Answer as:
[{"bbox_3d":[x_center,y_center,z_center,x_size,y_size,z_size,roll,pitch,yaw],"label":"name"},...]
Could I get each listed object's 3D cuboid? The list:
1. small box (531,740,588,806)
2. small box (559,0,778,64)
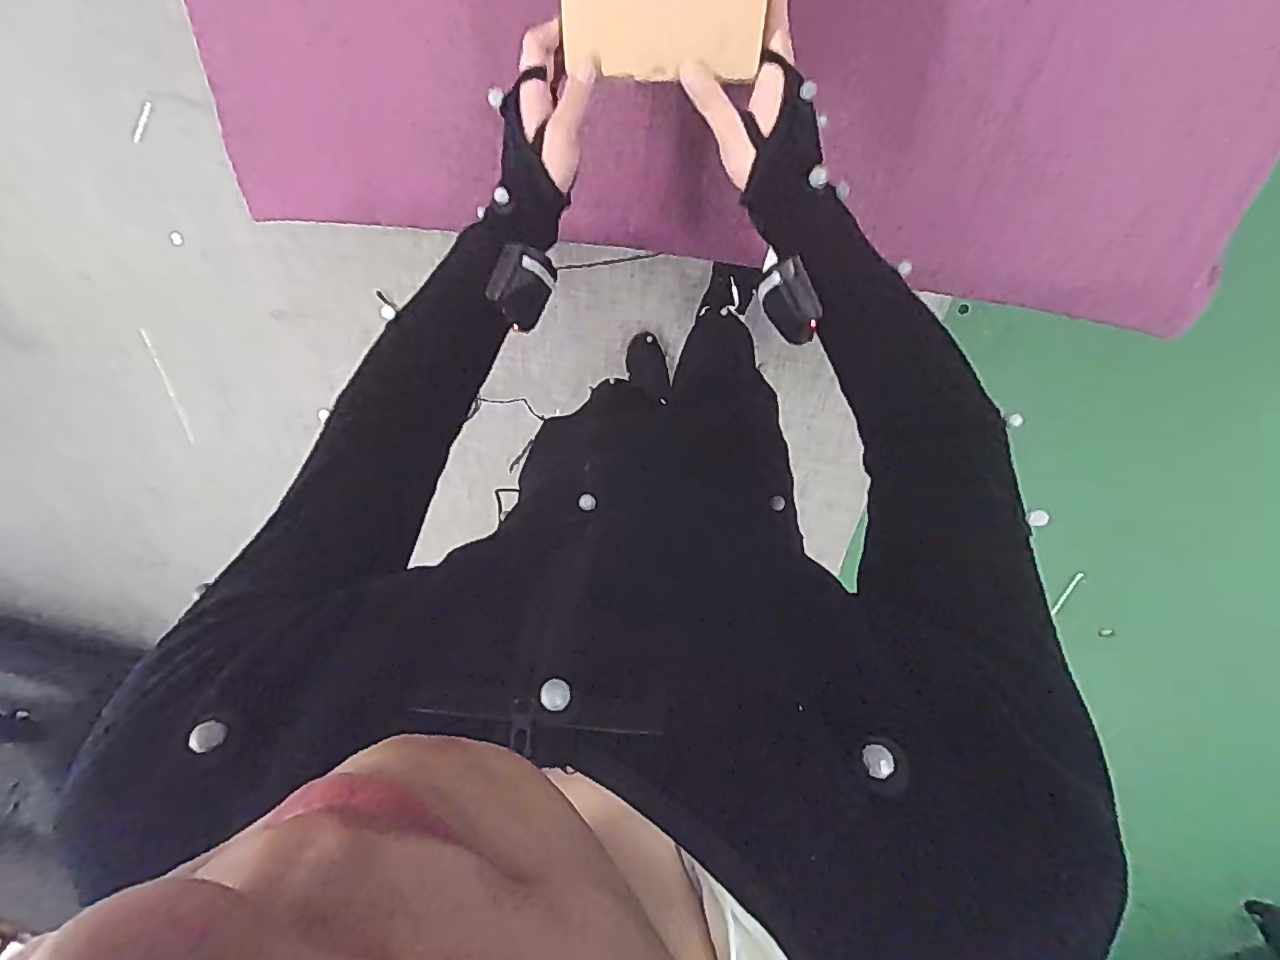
[{"bbox_3d":[-0.294,1.088,1.975,0.168,0.176,0.179,14,126,5],"label":"small box"},{"bbox_3d":[0.034,-0.460,0.451,0.168,0.176,0.179,8,128,12],"label":"small box"}]
